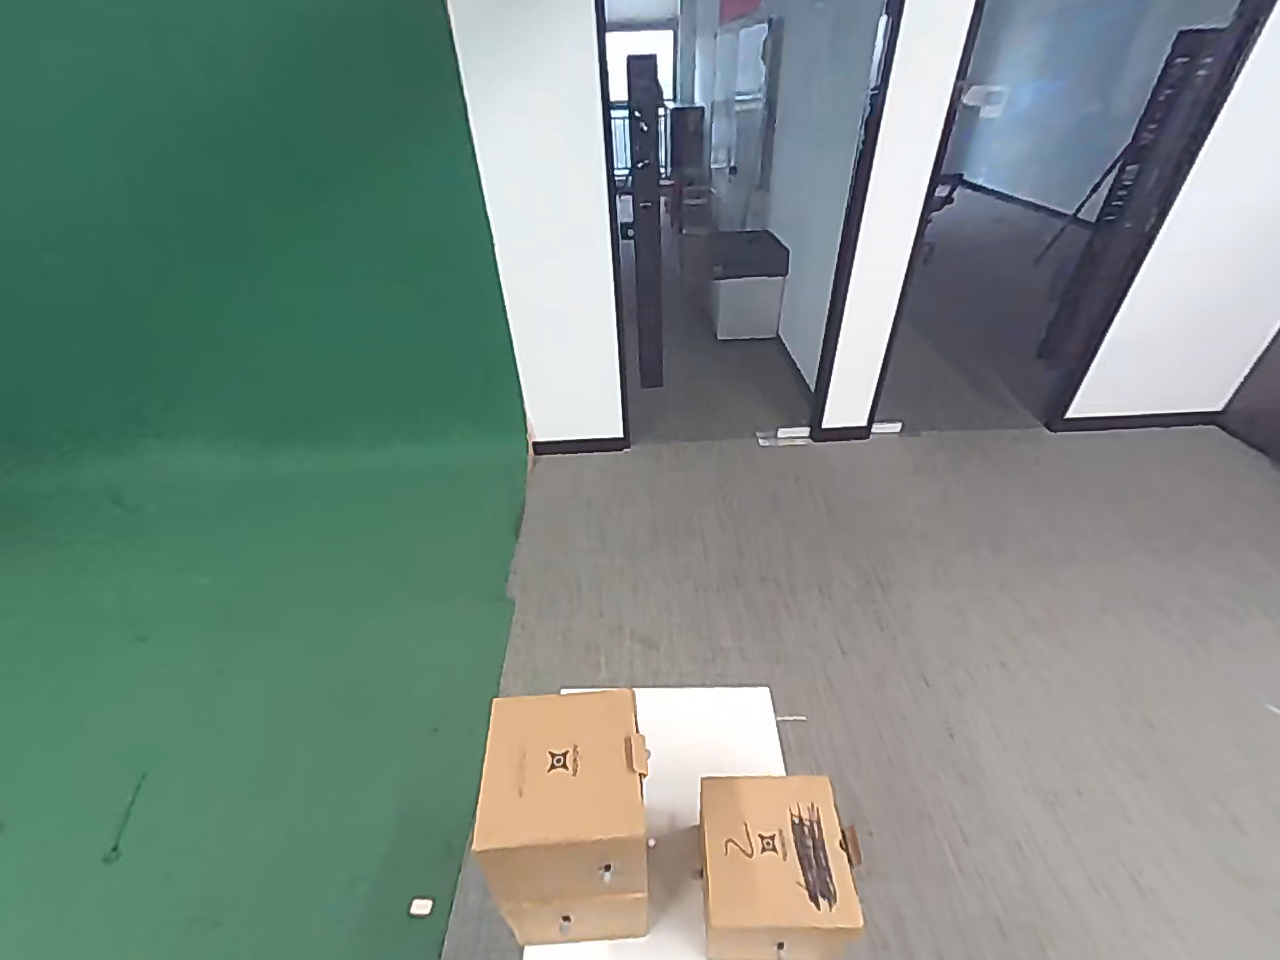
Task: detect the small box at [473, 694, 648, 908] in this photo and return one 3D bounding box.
[{"bbox_3d":[-0.085,0.382,0.648,0.179,0.176,0.168,-4,36,-3],"label":"small box"}]

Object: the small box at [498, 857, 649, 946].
[{"bbox_3d":[-0.082,0.513,0.745,0.179,0.176,0.168,-3,38,-2],"label":"small box"}]
